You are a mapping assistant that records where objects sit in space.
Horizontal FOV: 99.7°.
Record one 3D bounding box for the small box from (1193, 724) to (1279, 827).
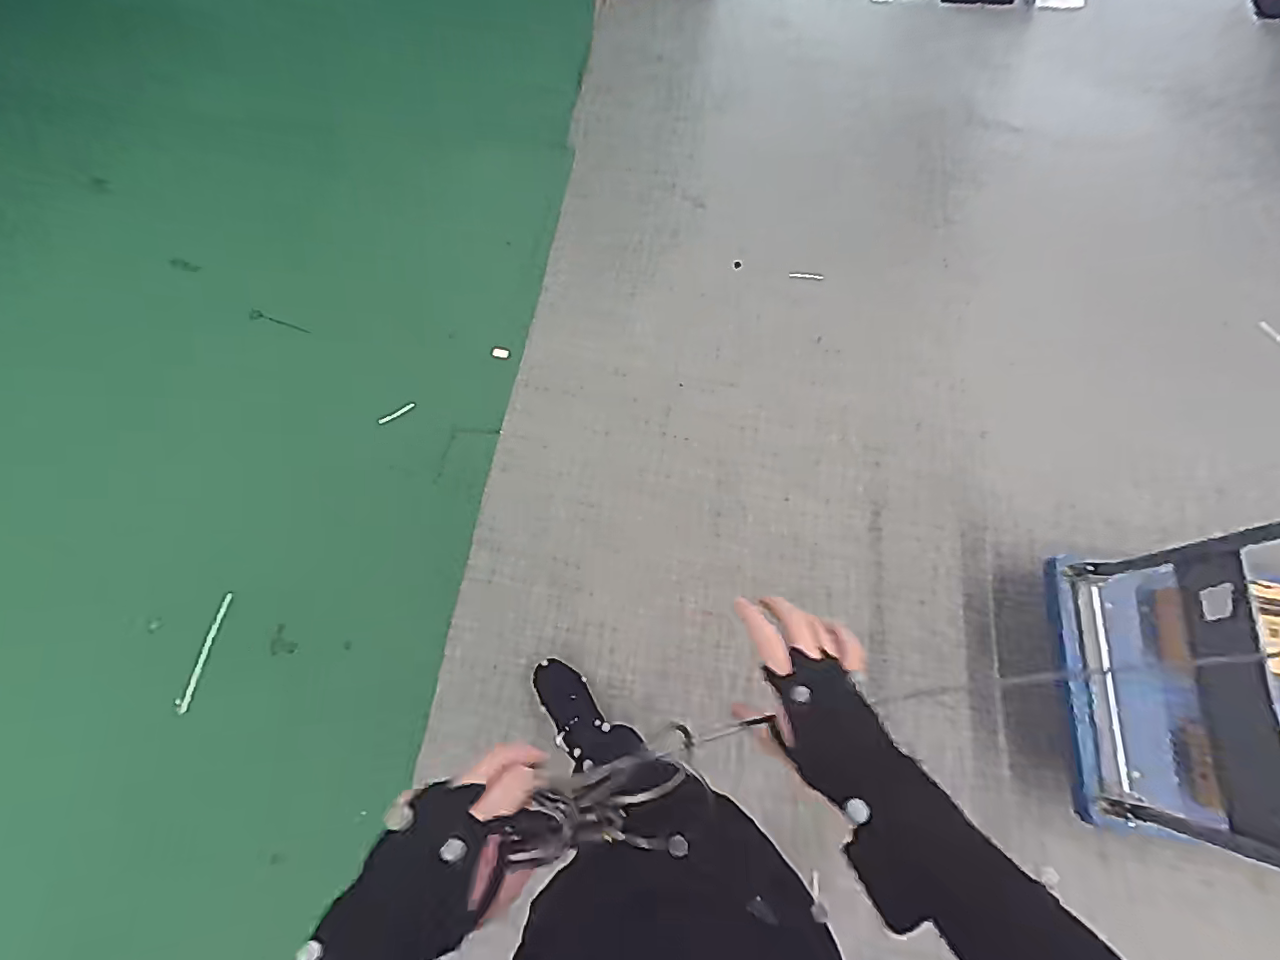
[{"bbox_3d":[1.243,0.573,1.040,0.179,0.176,0.168,6,71,6],"label":"small box"}]
